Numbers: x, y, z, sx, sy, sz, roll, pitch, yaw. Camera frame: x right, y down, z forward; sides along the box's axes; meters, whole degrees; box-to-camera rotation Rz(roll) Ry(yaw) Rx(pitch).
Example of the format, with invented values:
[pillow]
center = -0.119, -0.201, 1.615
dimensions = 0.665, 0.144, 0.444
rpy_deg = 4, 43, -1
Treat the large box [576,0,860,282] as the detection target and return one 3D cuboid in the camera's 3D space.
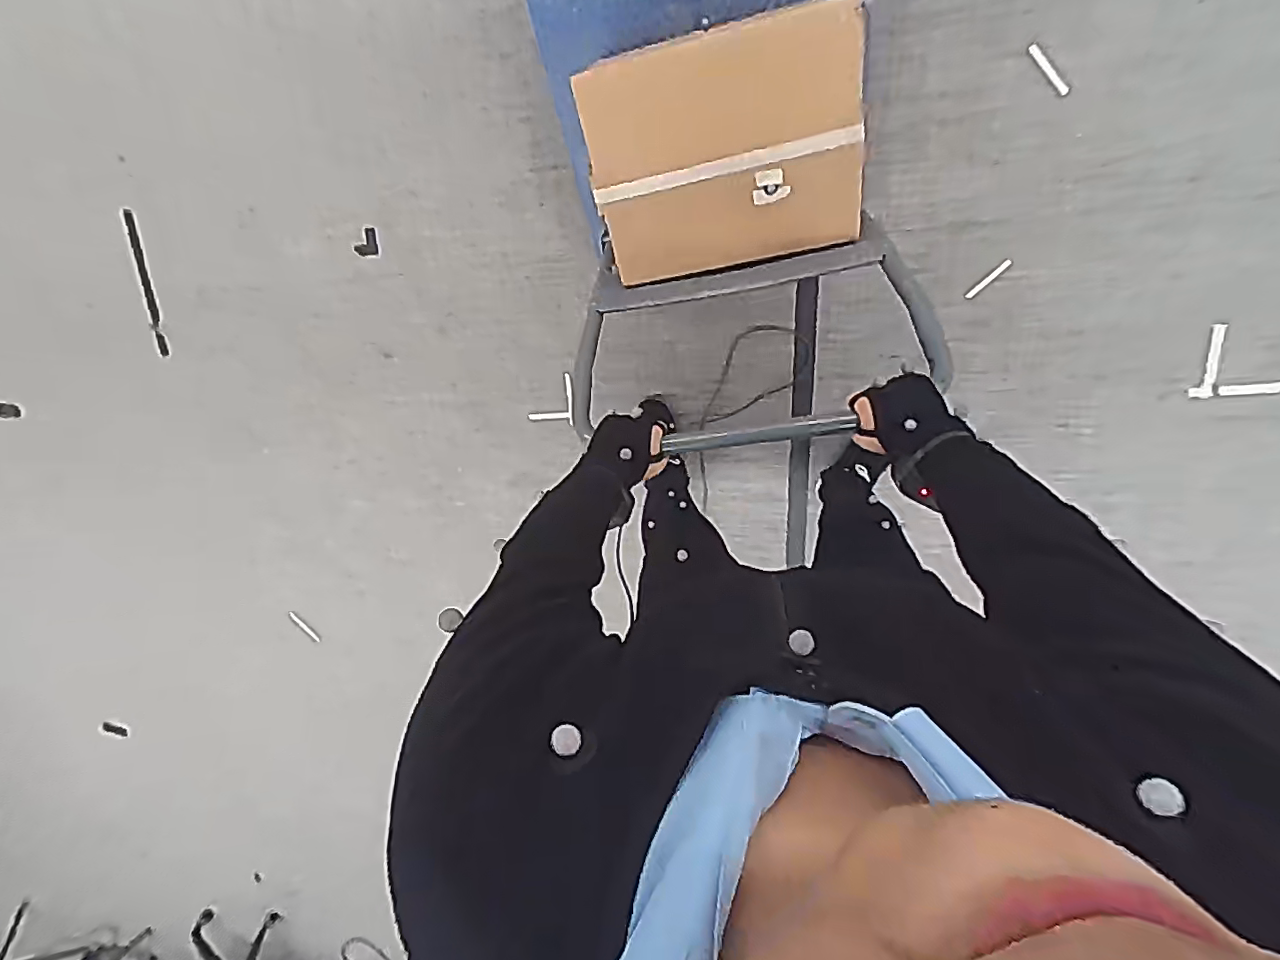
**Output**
[large box]
center = 0.141, -0.597, 0.954
dimensions = 0.408, 0.320, 0.320
rpy_deg = -9, 130, 12
